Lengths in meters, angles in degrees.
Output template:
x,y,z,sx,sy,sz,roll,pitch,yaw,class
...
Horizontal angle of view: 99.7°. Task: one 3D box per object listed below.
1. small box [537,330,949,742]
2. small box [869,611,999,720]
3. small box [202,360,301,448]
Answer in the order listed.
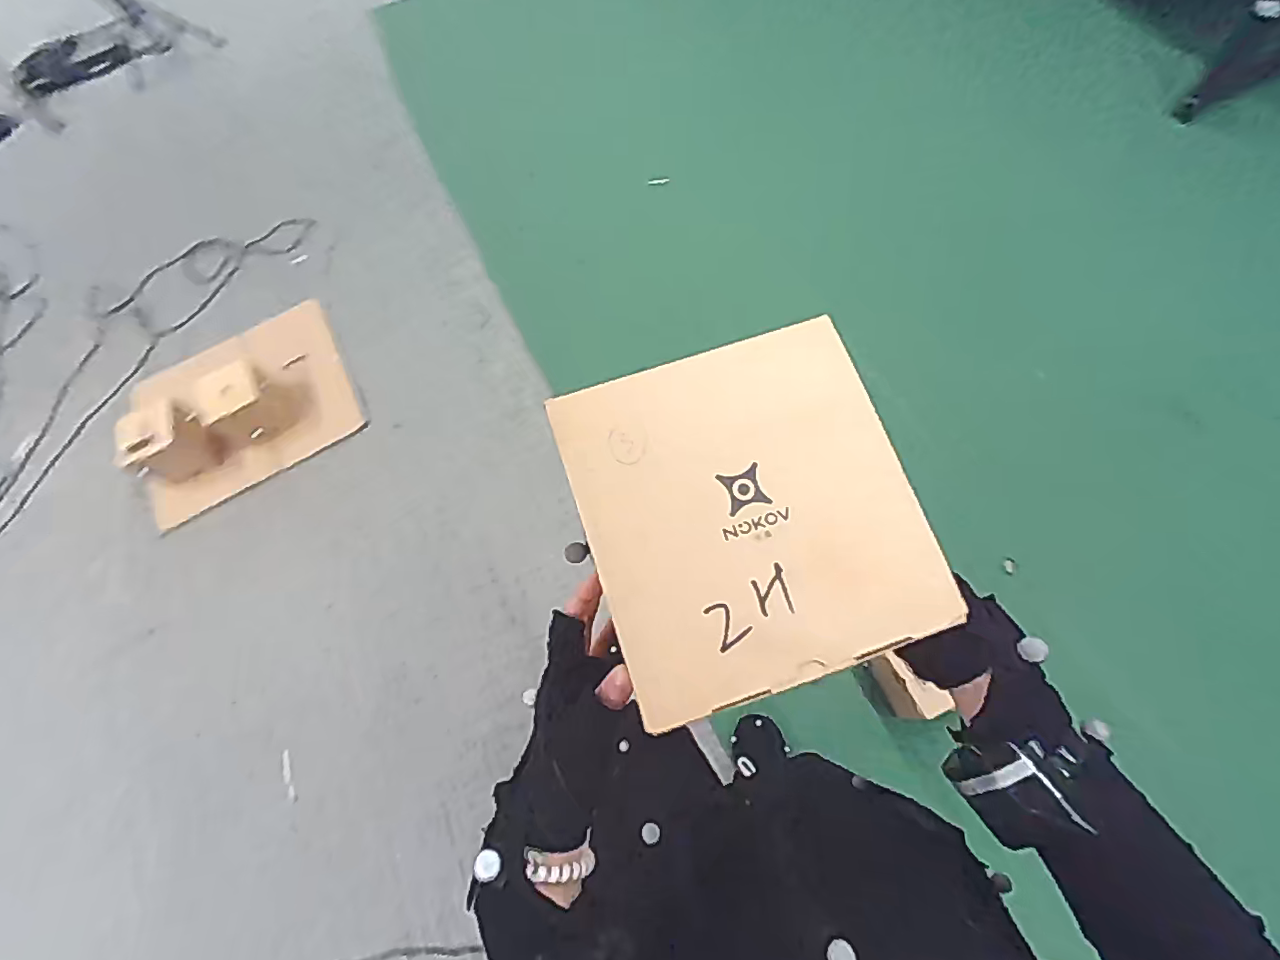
x,y,z,sx,sy,sz,roll,pitch,yaw,class
0.046,0.038,0.352,0.168,0.176,0.179,-19,77,-5,small box
0.631,0.414,1.196,0.179,0.176,0.168,-25,68,-4,small box
-1.200,-0.229,1.677,0.168,0.176,0.179,-30,69,-6,small box
